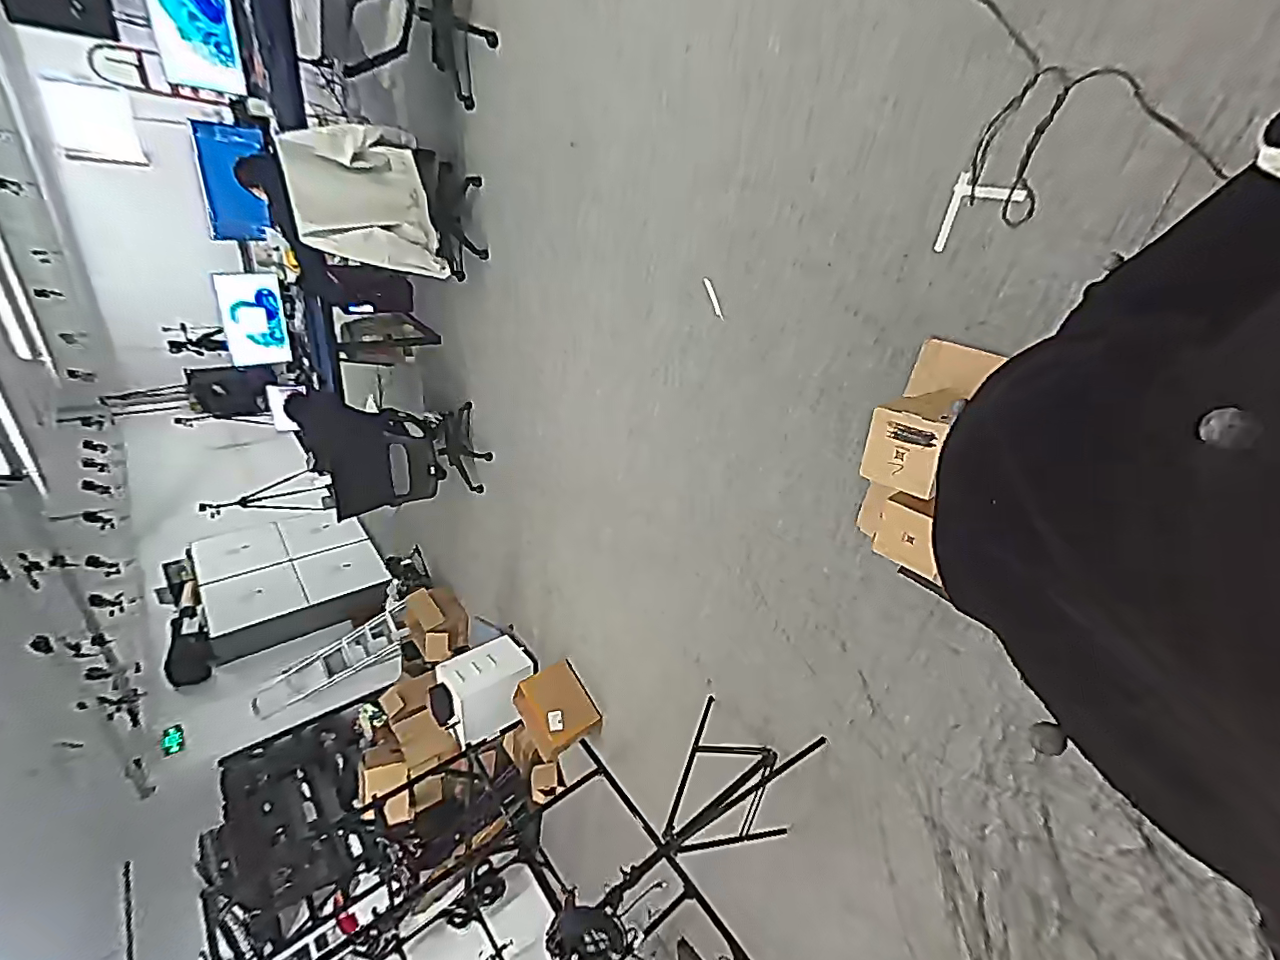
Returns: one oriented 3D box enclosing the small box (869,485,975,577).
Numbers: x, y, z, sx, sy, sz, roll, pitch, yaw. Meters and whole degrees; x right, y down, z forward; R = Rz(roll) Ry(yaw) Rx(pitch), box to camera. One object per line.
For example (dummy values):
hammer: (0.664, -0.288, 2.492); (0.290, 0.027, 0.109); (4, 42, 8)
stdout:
small box: (0.754, 0.128, 1.448); (0.179, 0.176, 0.168); (29, 126, 41)

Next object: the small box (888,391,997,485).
small box: (0.757, -0.113, 1.349); (0.168, 0.176, 0.179); (30, 126, 41)
